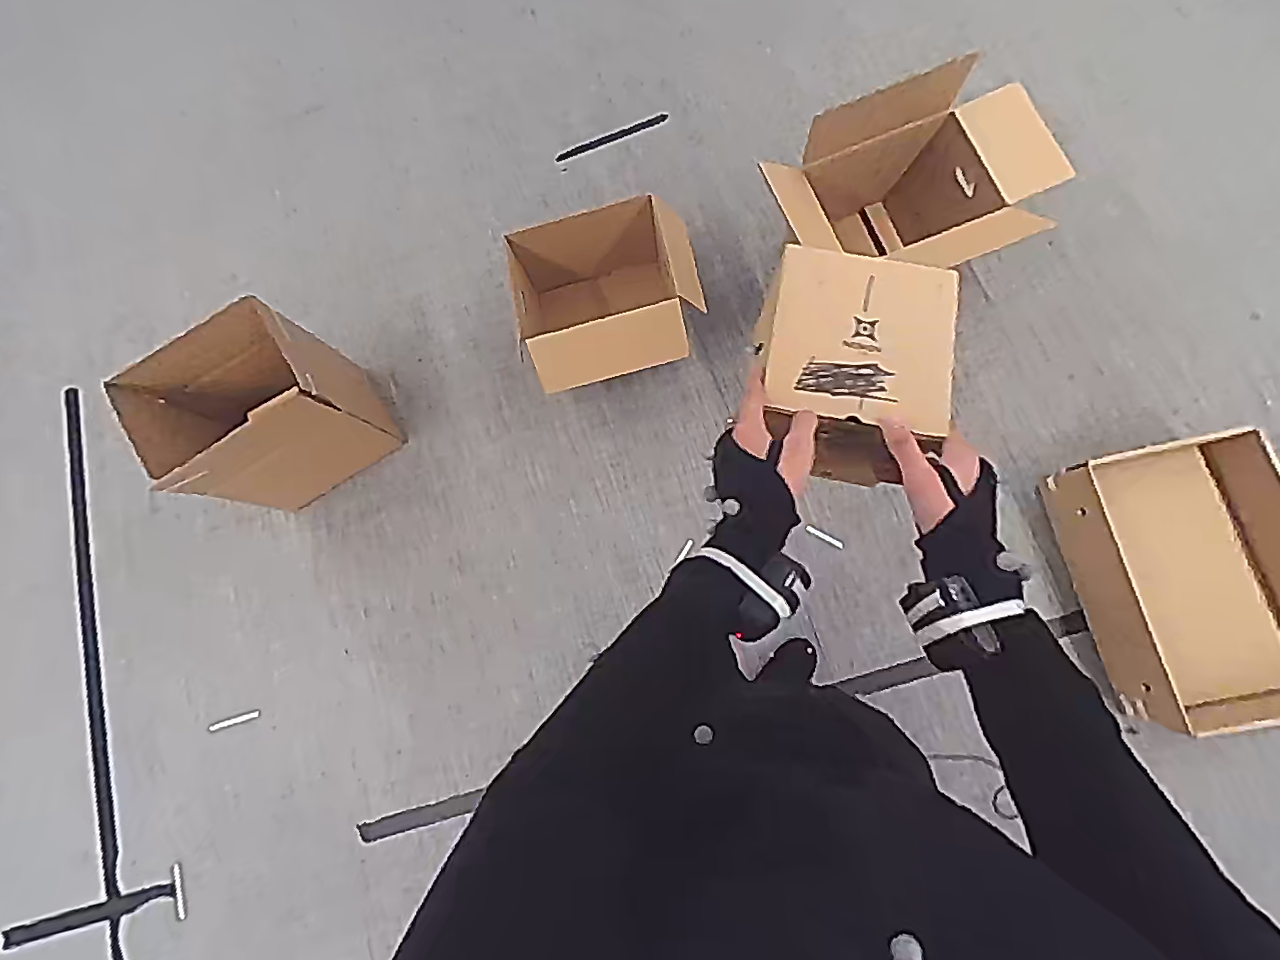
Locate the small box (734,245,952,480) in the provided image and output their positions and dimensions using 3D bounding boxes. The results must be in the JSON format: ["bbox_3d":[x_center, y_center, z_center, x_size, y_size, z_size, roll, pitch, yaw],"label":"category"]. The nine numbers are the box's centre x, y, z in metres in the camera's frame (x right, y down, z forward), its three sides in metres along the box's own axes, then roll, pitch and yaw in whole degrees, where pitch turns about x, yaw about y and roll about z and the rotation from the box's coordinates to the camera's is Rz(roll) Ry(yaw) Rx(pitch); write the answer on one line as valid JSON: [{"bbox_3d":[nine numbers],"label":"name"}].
[{"bbox_3d":[0.199,-0.110,0.571,0.168,0.176,0.179,10,75,3],"label":"small box"}]
